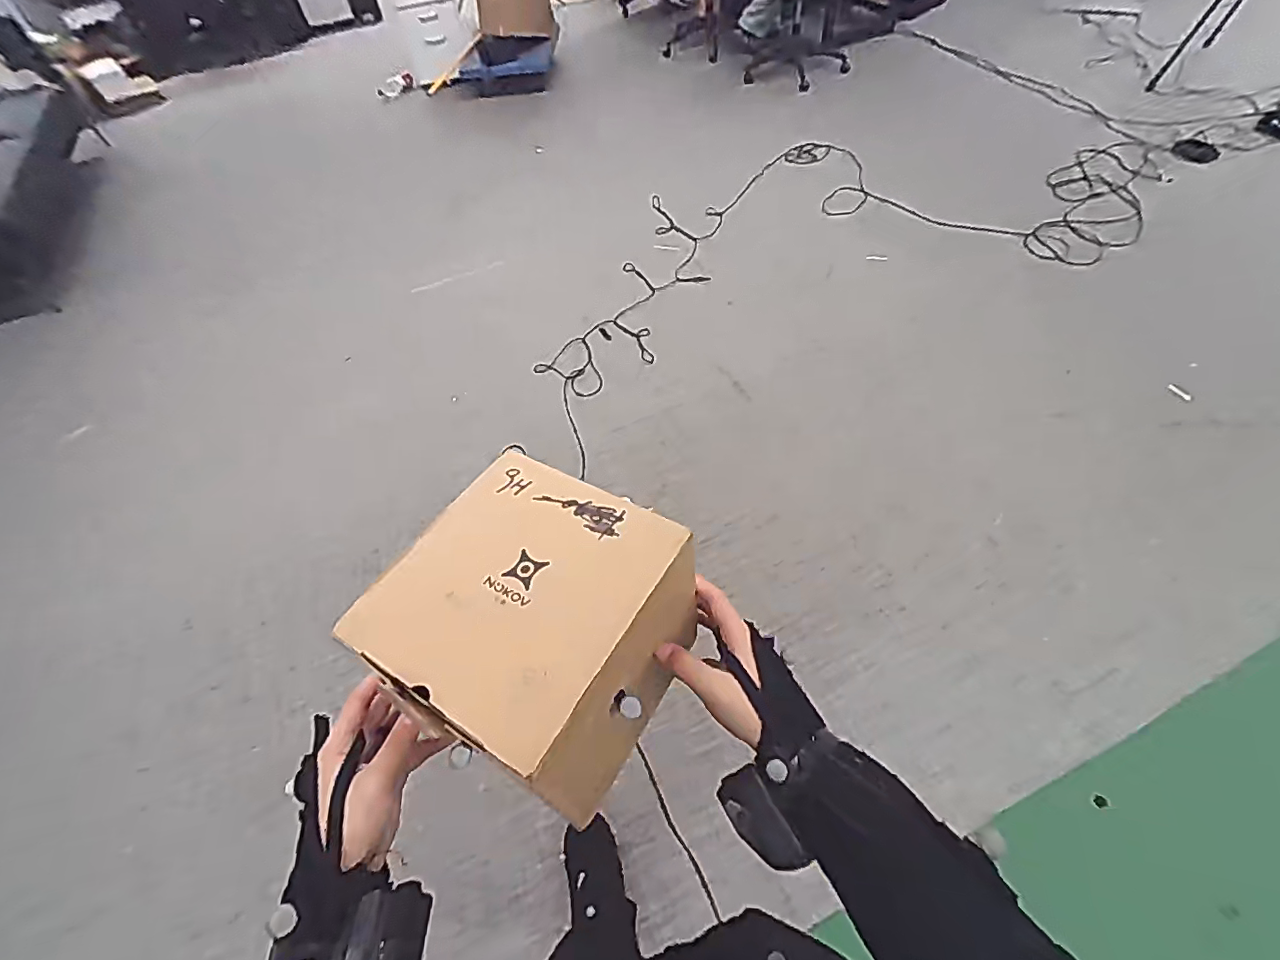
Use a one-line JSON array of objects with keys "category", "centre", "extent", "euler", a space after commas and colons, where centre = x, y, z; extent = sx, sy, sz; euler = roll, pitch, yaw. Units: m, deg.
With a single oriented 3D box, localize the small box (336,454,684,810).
[{"category": "small box", "centre": [-0.074, 0.117, 0.414], "extent": [0.168, 0.176, 0.179], "euler": [23, 58, 24]}]
